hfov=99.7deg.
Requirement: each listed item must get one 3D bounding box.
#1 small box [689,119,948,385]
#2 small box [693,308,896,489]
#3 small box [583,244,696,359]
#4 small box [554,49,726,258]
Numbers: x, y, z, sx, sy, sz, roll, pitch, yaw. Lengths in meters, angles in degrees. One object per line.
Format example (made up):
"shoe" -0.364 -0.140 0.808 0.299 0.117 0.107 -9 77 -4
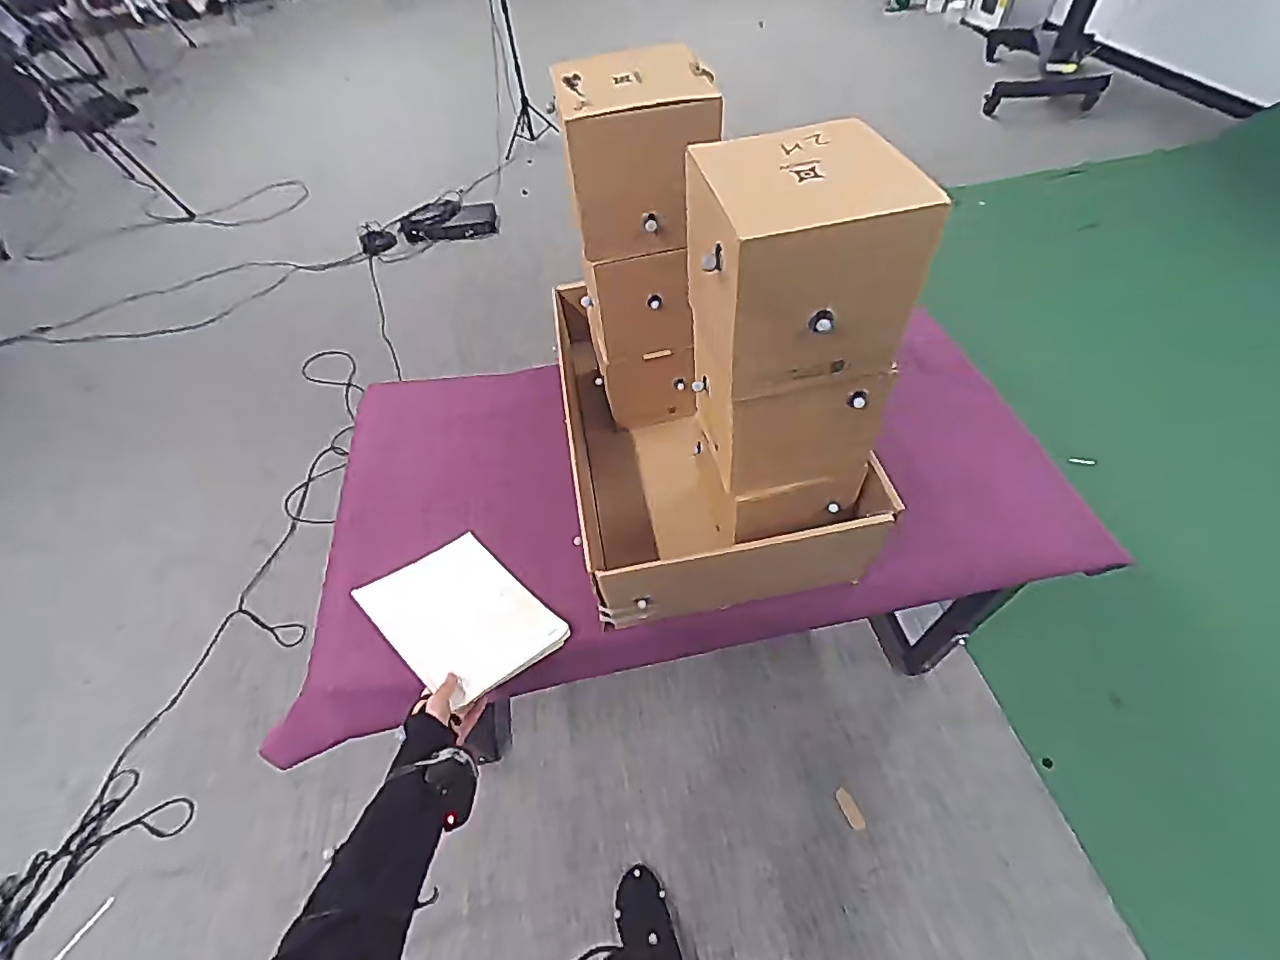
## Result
"small box" 0.147 -0.208 0.516 0.168 0.176 0.179 -11 51 -3
"small box" 0.167 -0.108 0.646 0.179 0.176 0.168 -11 52 -3
"small box" 0.010 -0.309 0.815 0.179 0.176 0.168 -13 54 -4
"small box" -0.003 -0.407 0.684 0.179 0.176 0.168 -10 54 -4
